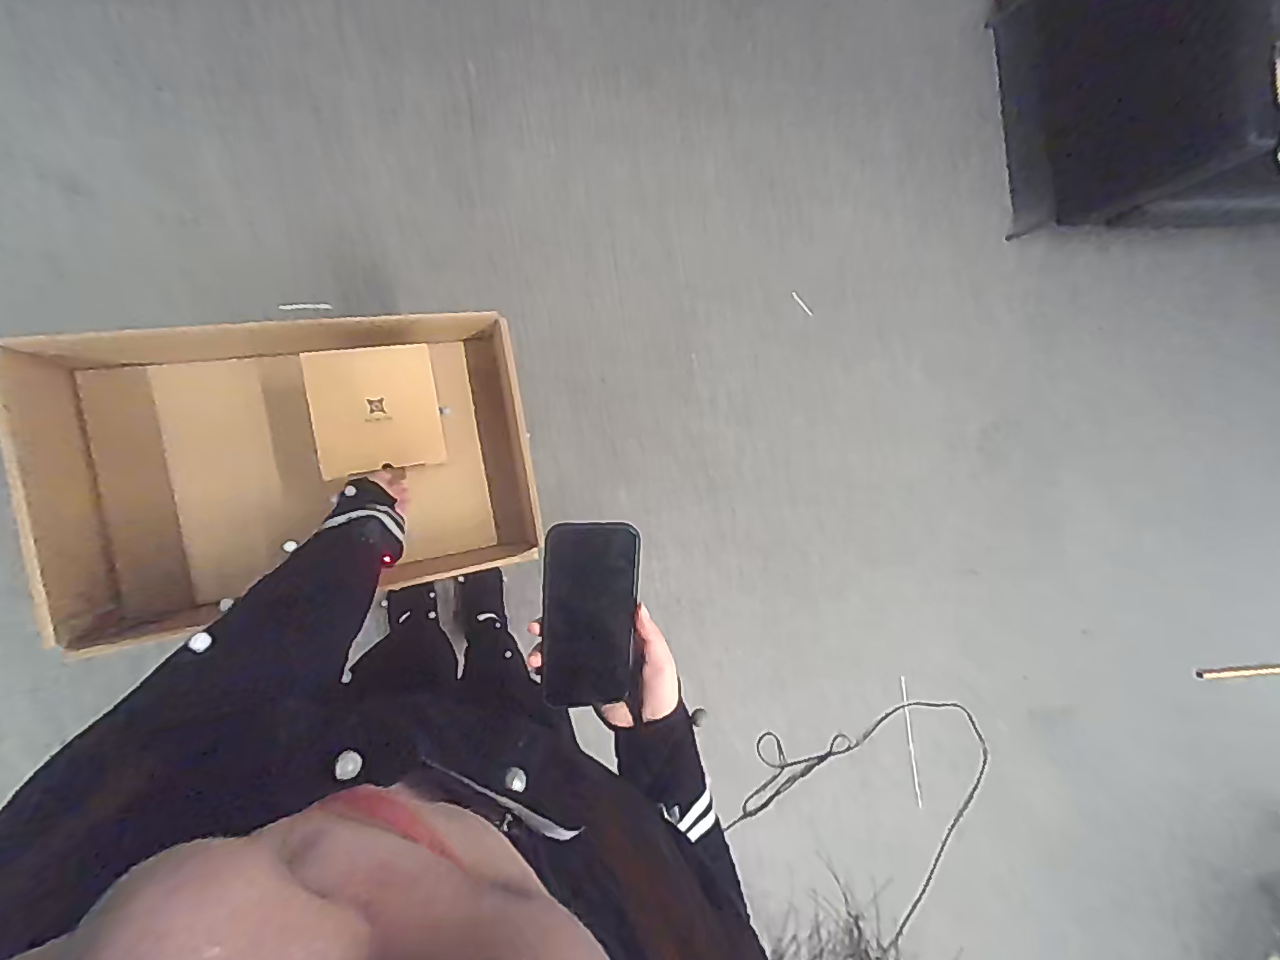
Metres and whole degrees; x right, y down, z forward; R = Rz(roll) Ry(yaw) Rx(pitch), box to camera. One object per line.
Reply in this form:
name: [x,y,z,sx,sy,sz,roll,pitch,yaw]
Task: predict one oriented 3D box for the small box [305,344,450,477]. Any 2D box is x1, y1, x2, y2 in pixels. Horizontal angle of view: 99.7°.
small box: [-0.393,-0.100,0.834,0.168,0.176,0.179,-9,94,-19]
